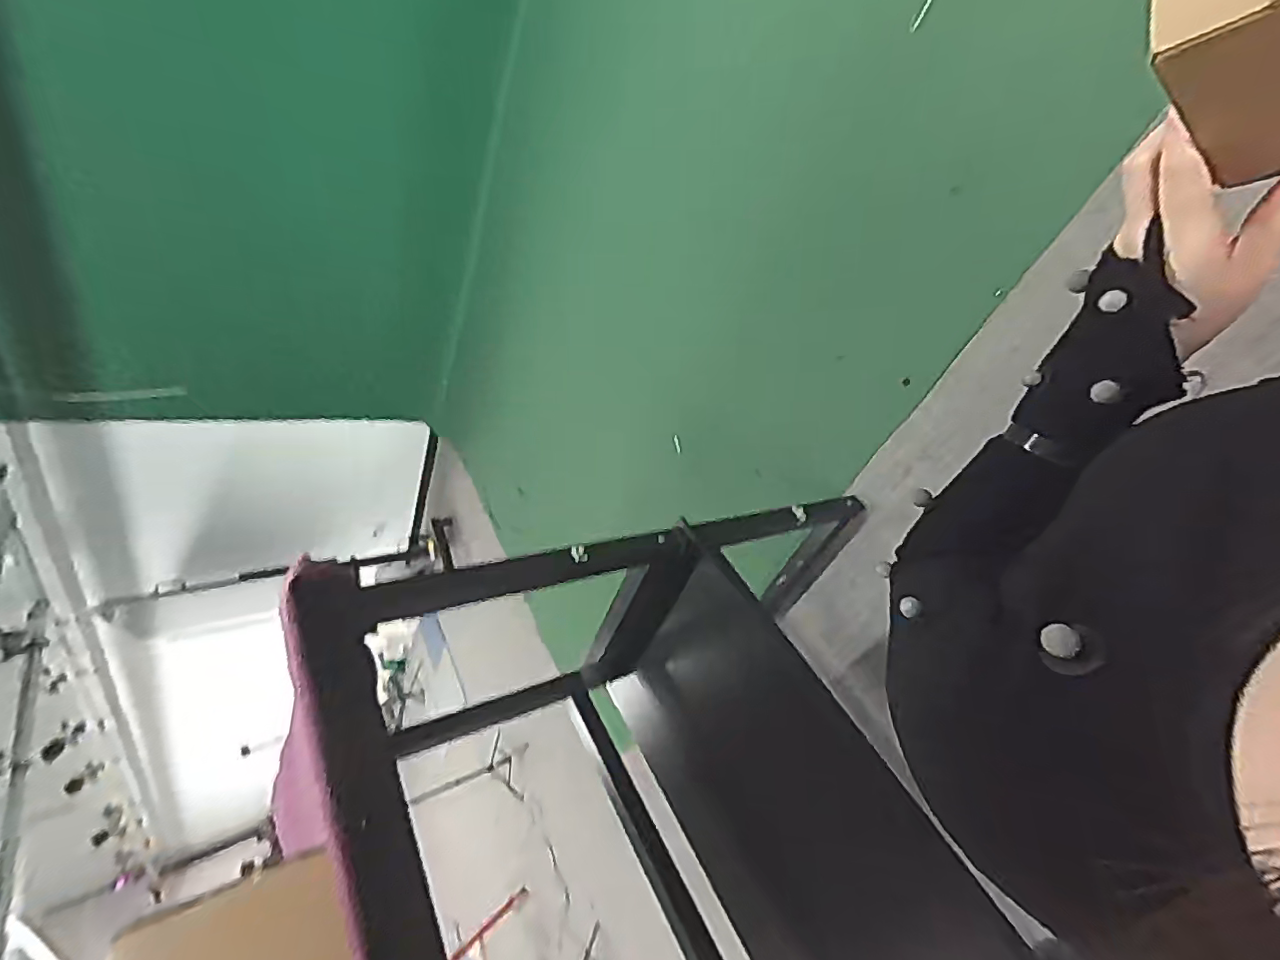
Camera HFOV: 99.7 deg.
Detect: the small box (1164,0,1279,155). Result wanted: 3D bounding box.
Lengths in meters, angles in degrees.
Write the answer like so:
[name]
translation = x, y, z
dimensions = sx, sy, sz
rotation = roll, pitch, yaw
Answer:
[small box]
translation = 0.320, -0.256, 0.187
dimensions = 0.168, 0.176, 0.179
rotation = 6, 97, 54
